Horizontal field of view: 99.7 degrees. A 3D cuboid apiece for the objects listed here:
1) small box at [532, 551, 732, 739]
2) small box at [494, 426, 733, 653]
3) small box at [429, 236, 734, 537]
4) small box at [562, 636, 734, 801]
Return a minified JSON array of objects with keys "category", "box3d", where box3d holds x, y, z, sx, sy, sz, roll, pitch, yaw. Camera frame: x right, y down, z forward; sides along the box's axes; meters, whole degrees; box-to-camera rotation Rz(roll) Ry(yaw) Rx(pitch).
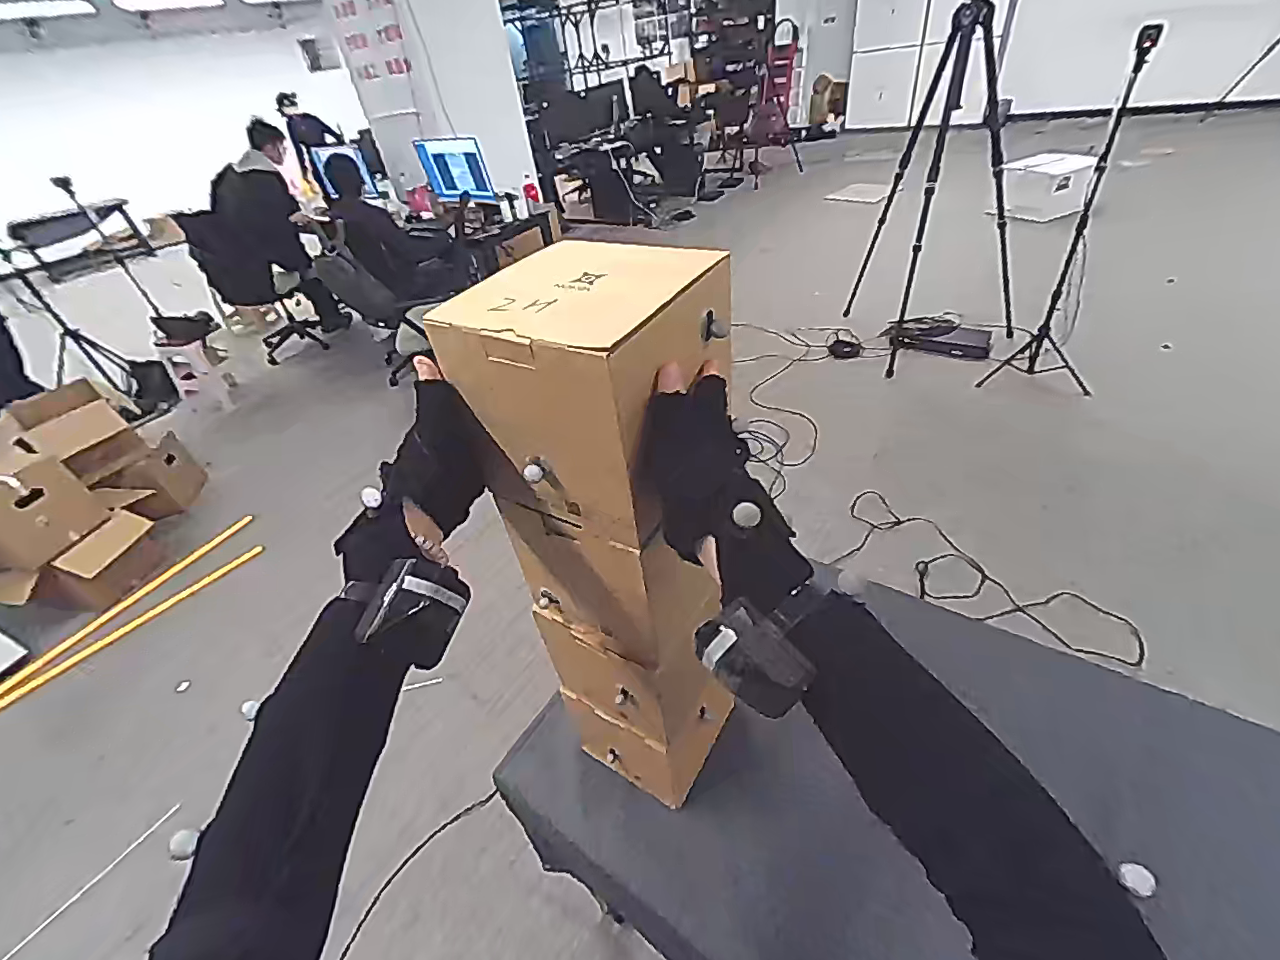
[{"category":"small box","box3d":[0.003,0.171,0.654,0.168,0.176,0.179,19,47,29]},{"category":"small box","box3d":[-0.012,0.042,0.555,0.168,0.176,0.179,19,46,28]},{"category":"small box","box3d":[-0.033,-0.085,0.452,0.168,0.176,0.179,17,46,27]},{"category":"small box","box3d":[0.019,0.298,0.755,0.168,0.176,0.179,18,47,29]}]
